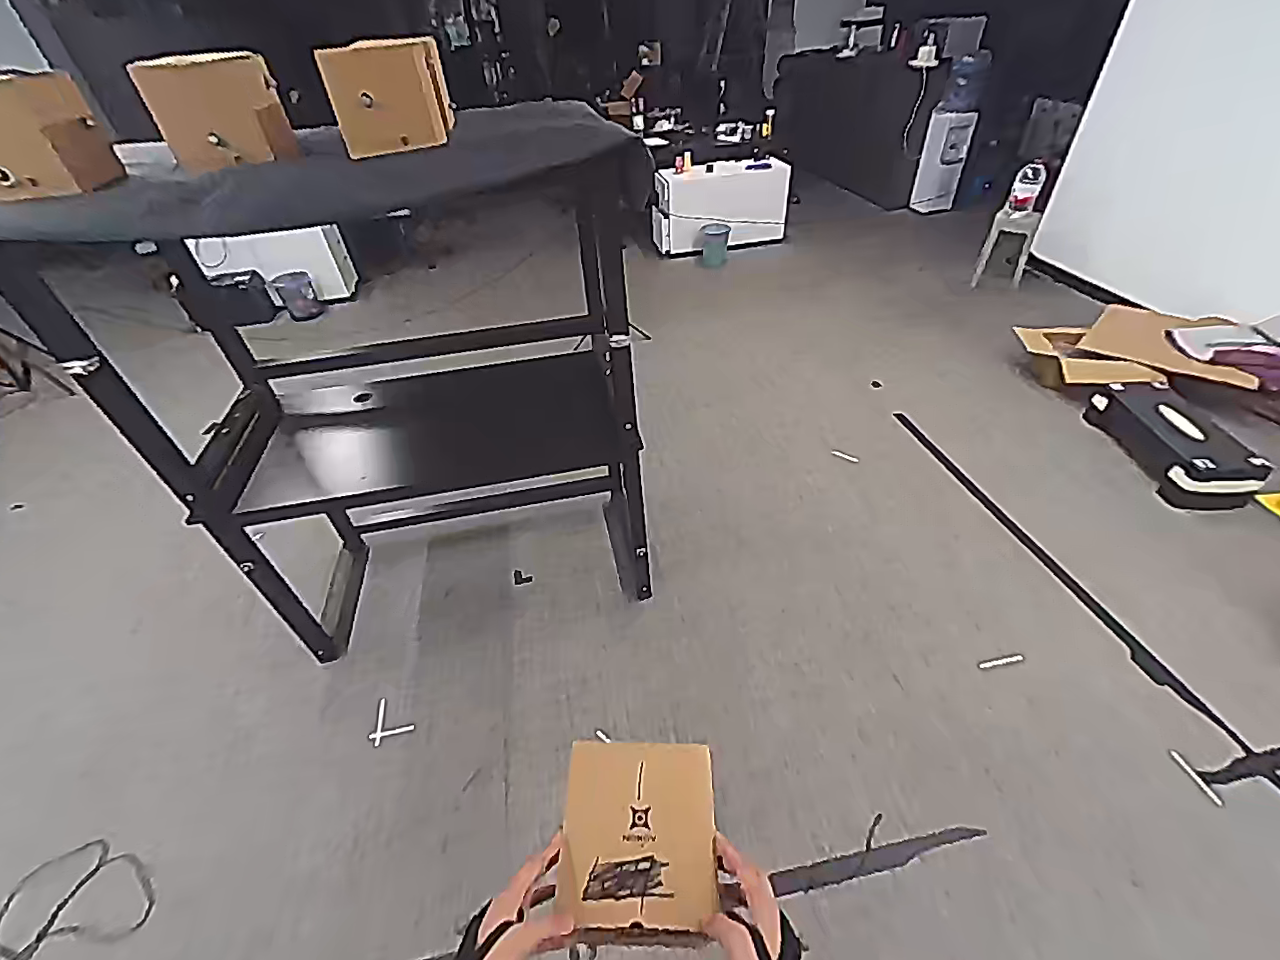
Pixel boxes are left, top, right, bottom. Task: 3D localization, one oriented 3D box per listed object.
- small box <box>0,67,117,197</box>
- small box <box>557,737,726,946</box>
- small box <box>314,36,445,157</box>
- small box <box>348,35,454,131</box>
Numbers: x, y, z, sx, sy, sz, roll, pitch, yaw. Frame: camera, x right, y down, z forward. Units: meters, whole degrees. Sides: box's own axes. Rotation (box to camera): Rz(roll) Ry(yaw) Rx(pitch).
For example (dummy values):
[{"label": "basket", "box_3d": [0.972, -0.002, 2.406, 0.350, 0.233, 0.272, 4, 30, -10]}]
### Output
[{"label": "small box", "box_3d": [-1.071, -0.599, 0.931, 0.168, 0.176, 0.179, -12, 41, -8]}, {"label": "small box", "box_3d": [0.005, 0.419, 0.626, 0.168, 0.176, 0.179, 2, 45, 0]}, {"label": "small box", "box_3d": [-0.477, -0.720, 1.022, 0.168, 0.176, 0.179, -11, 39, -7]}, {"label": "small box", "box_3d": [-0.530, -0.897, 1.229, 0.168, 0.176, 0.179, -11, 41, -7]}]
